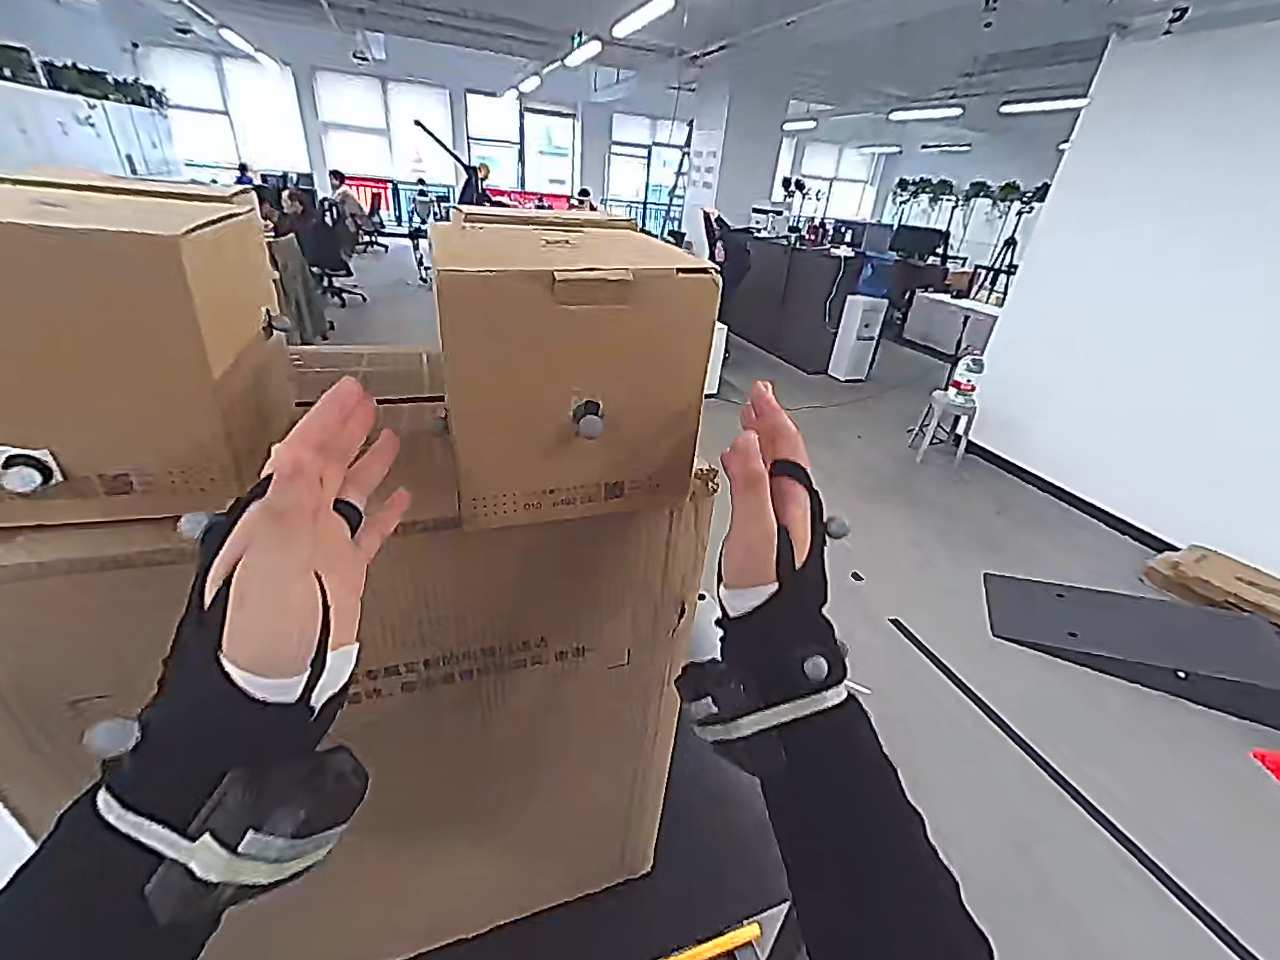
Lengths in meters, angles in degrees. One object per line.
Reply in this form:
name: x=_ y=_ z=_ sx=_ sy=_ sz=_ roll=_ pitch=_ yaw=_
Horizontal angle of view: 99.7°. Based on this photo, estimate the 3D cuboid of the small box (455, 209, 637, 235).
small box: x=-0.112 y=-0.203 z=0.607 sx=0.168 sy=0.176 sz=0.179 roll=-8 pitch=29 yaw=-20

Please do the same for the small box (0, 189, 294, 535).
small box: x=-0.342 y=-0.082 z=0.350 sx=0.168 sy=0.176 sz=0.179 roll=-5 pitch=31 yaw=-21

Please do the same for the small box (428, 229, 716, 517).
small box: x=-0.061 y=-0.083 z=0.407 sx=0.168 sy=0.176 sz=0.179 roll=-7 pitch=34 yaw=-19

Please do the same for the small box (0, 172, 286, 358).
small box: x=-0.445 y=-0.179 z=0.504 sx=0.168 sy=0.176 sz=0.179 roll=-8 pitch=31 yaw=-26
